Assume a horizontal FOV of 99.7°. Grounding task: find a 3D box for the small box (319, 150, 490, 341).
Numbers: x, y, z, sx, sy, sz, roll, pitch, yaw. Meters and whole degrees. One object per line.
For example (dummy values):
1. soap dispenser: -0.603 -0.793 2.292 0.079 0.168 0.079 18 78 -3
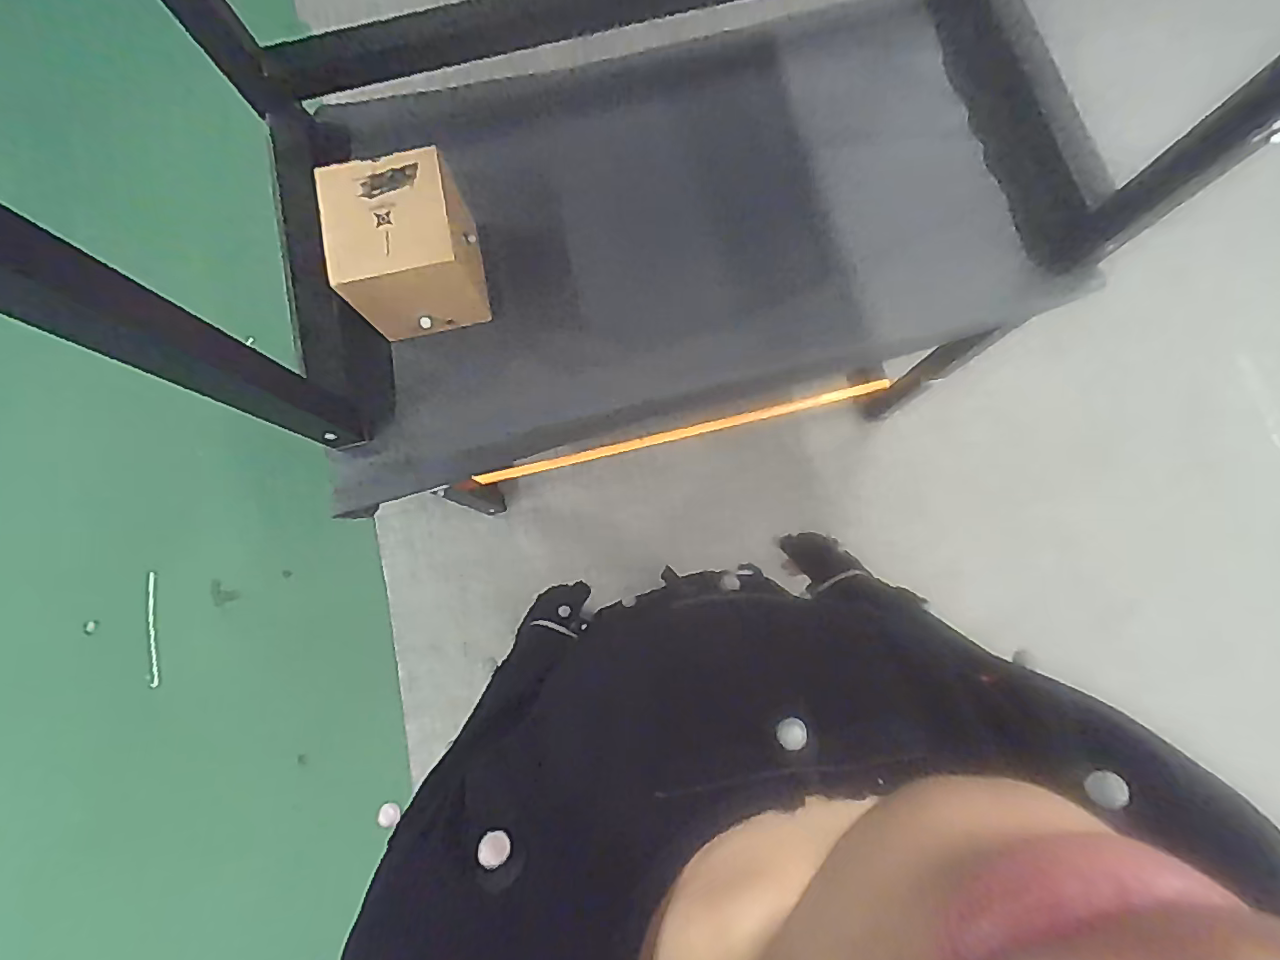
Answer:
1. small box: -0.331 -0.329 0.785 0.168 0.176 0.179 -13 80 -1
